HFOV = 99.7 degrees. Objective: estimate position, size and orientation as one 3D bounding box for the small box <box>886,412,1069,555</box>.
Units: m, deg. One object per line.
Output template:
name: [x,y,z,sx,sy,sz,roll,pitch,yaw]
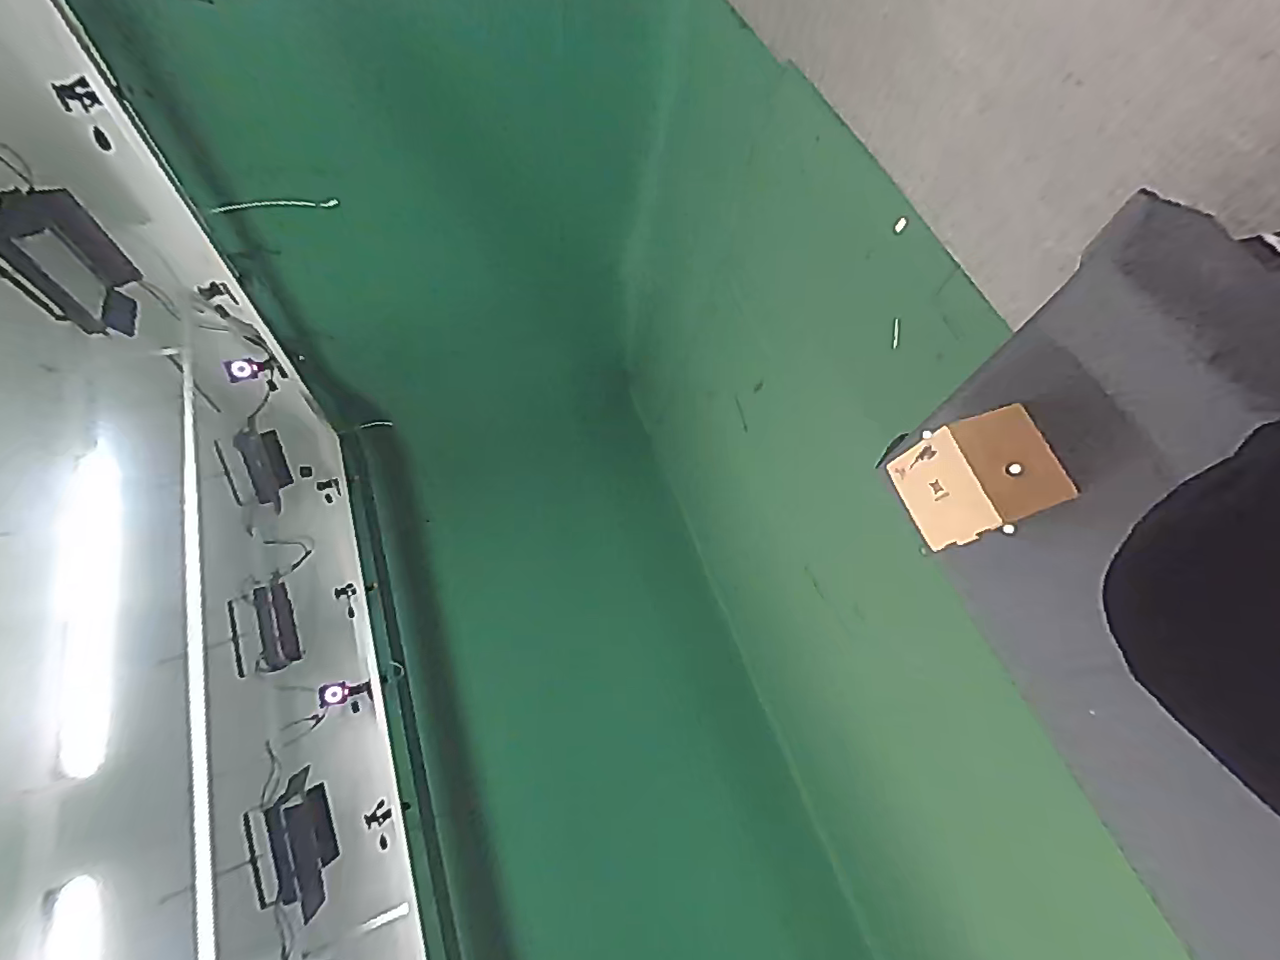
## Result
small box: [0.576,0.006,0.933,0.168,0.176,0.179,116,135,-65]
